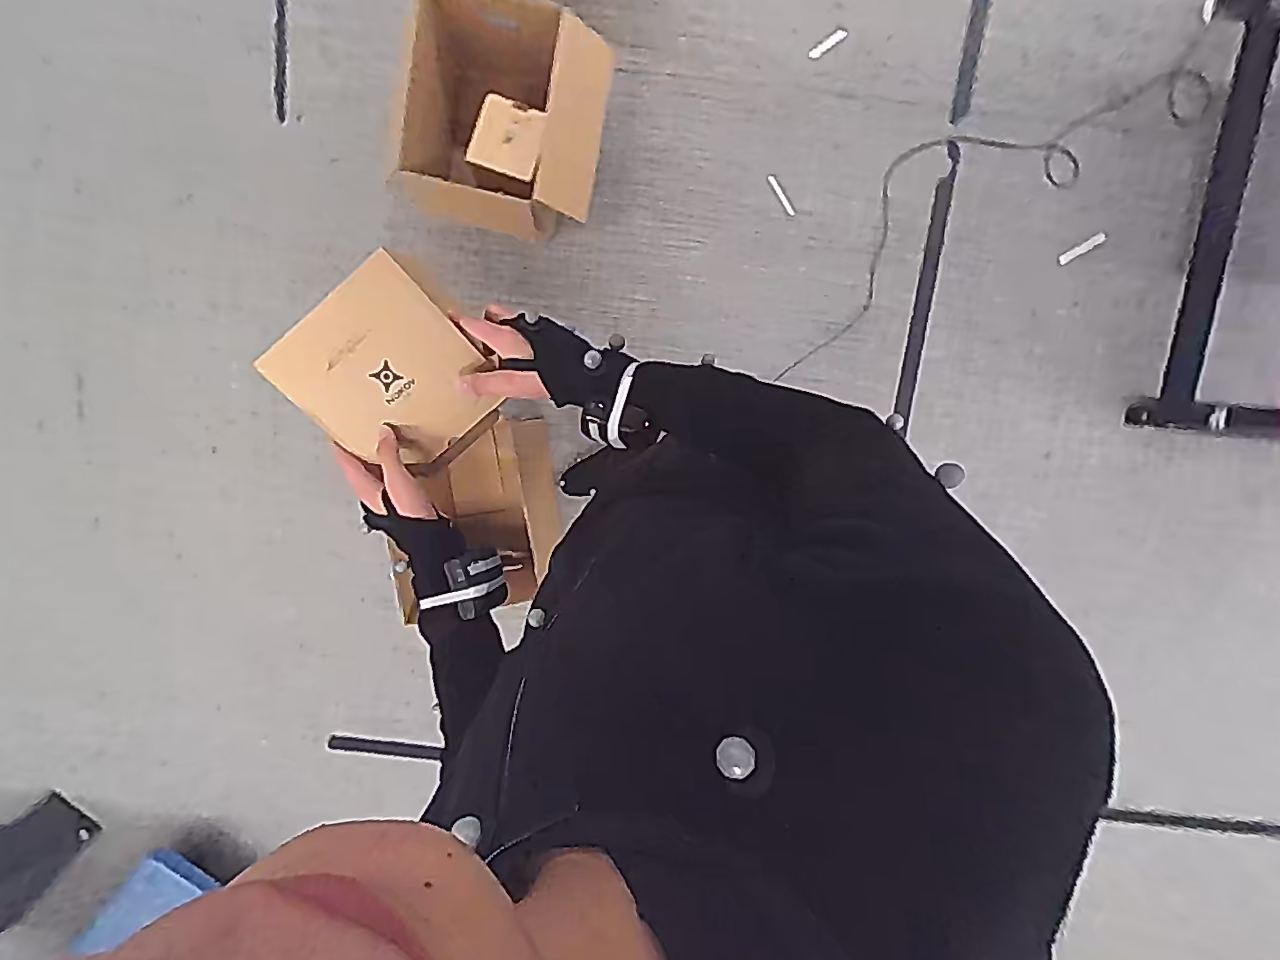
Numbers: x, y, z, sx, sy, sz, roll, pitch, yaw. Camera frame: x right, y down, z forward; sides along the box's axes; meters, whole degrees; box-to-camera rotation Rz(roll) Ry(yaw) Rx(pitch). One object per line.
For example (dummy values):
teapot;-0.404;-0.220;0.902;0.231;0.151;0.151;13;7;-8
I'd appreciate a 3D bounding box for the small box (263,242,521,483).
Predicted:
small box;-0.246;-0.133;0.592;0.168;0.176;0.179;-39;112;4
